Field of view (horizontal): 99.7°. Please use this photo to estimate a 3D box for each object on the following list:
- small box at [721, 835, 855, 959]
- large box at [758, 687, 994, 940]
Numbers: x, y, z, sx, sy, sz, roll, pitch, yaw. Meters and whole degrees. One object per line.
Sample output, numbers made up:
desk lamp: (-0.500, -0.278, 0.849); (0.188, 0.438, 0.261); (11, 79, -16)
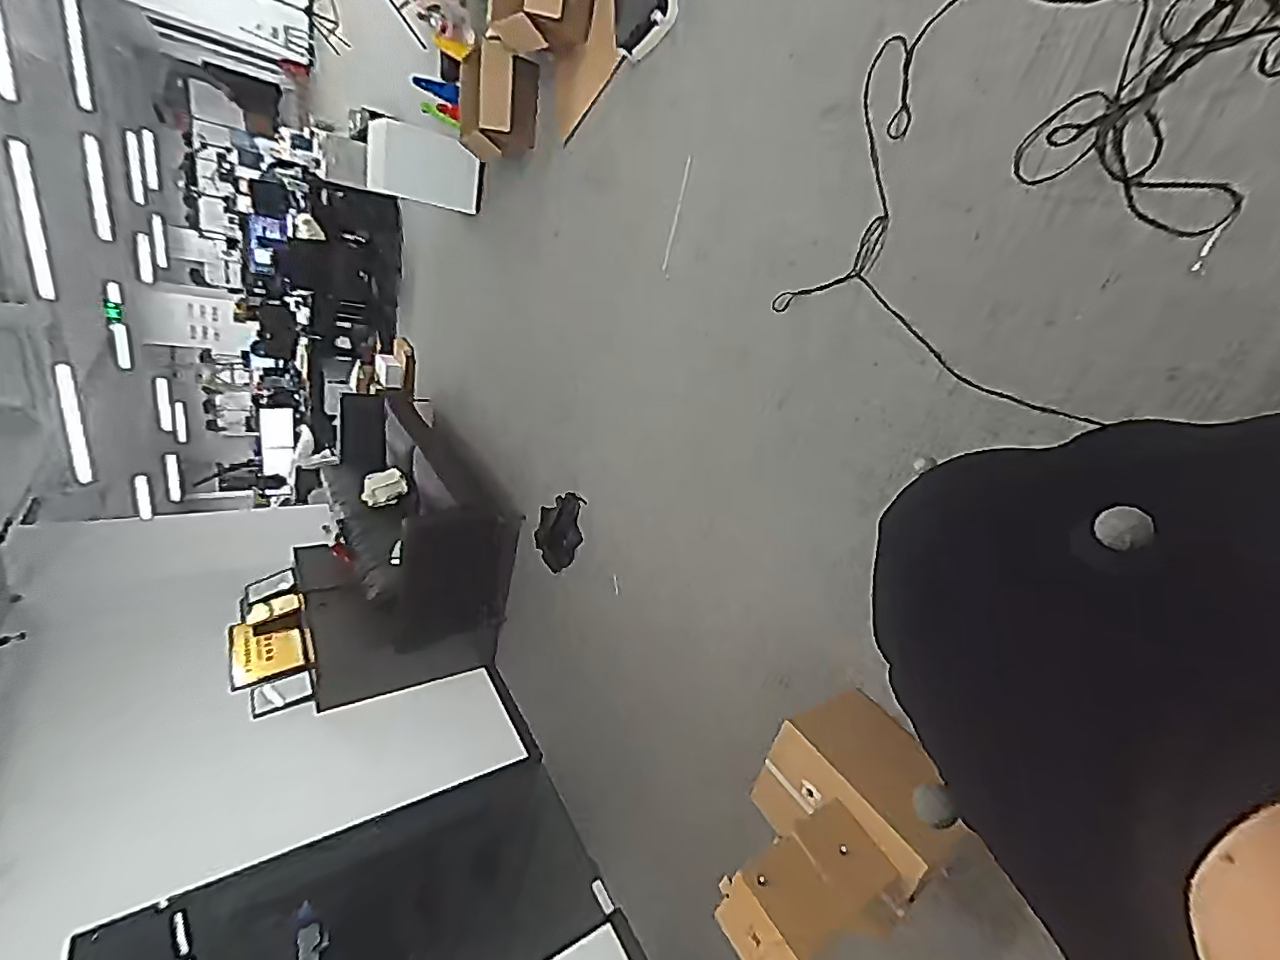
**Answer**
small box: (0.301, 0.879, 1.101); (0.179, 0.176, 0.168); (41, 126, 44)
large box: (0.588, 0.822, 1.395); (0.408, 0.320, 0.320); (40, 124, 46)
